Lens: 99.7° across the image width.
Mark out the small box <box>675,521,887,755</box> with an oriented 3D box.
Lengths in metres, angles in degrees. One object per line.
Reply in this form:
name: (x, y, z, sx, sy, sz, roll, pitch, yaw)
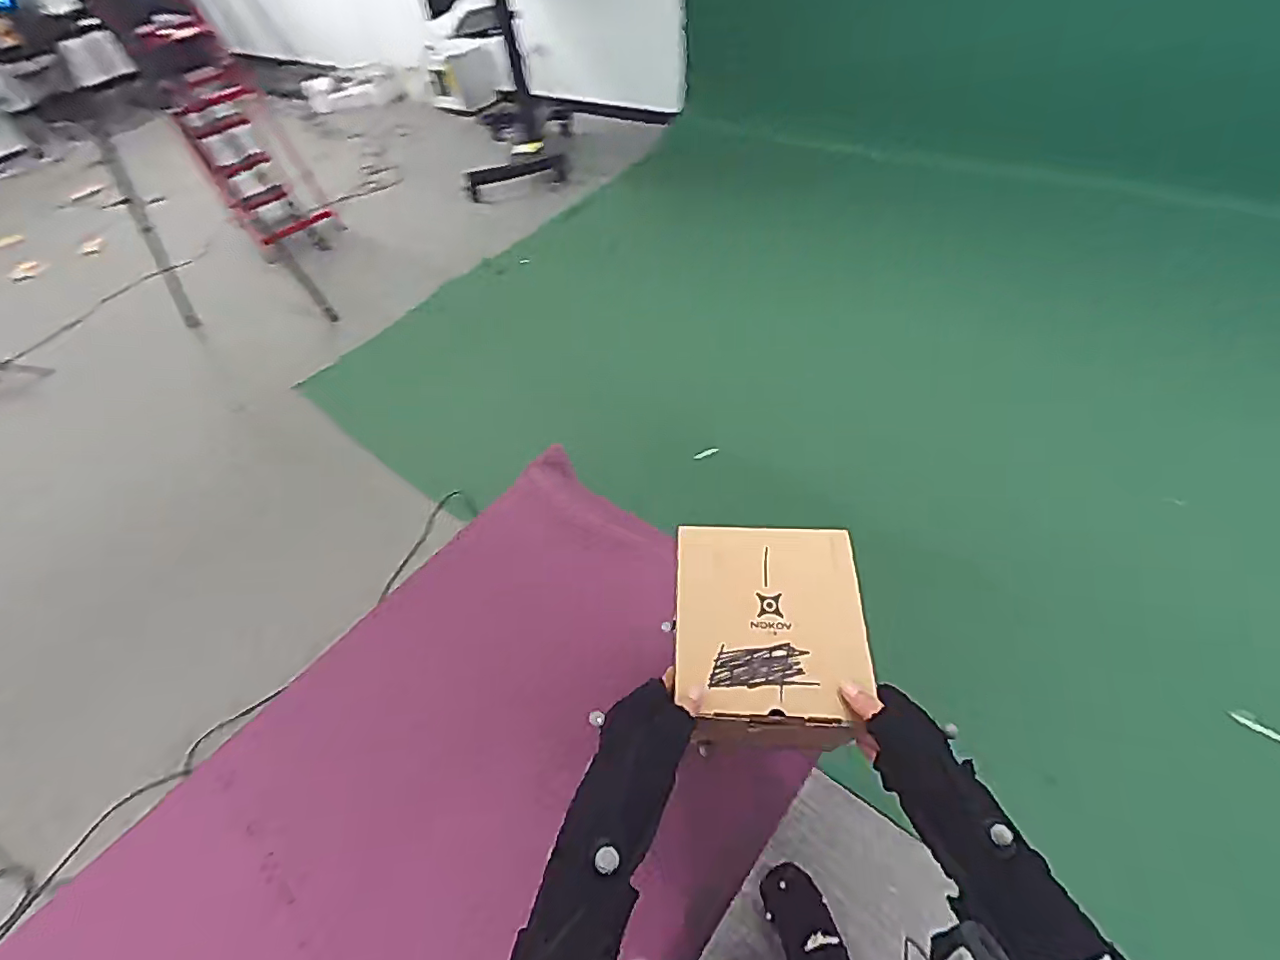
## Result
small box: (0.125, 0.162, 0.536, 0.168, 0.176, 0.179, 6, 58, 5)
